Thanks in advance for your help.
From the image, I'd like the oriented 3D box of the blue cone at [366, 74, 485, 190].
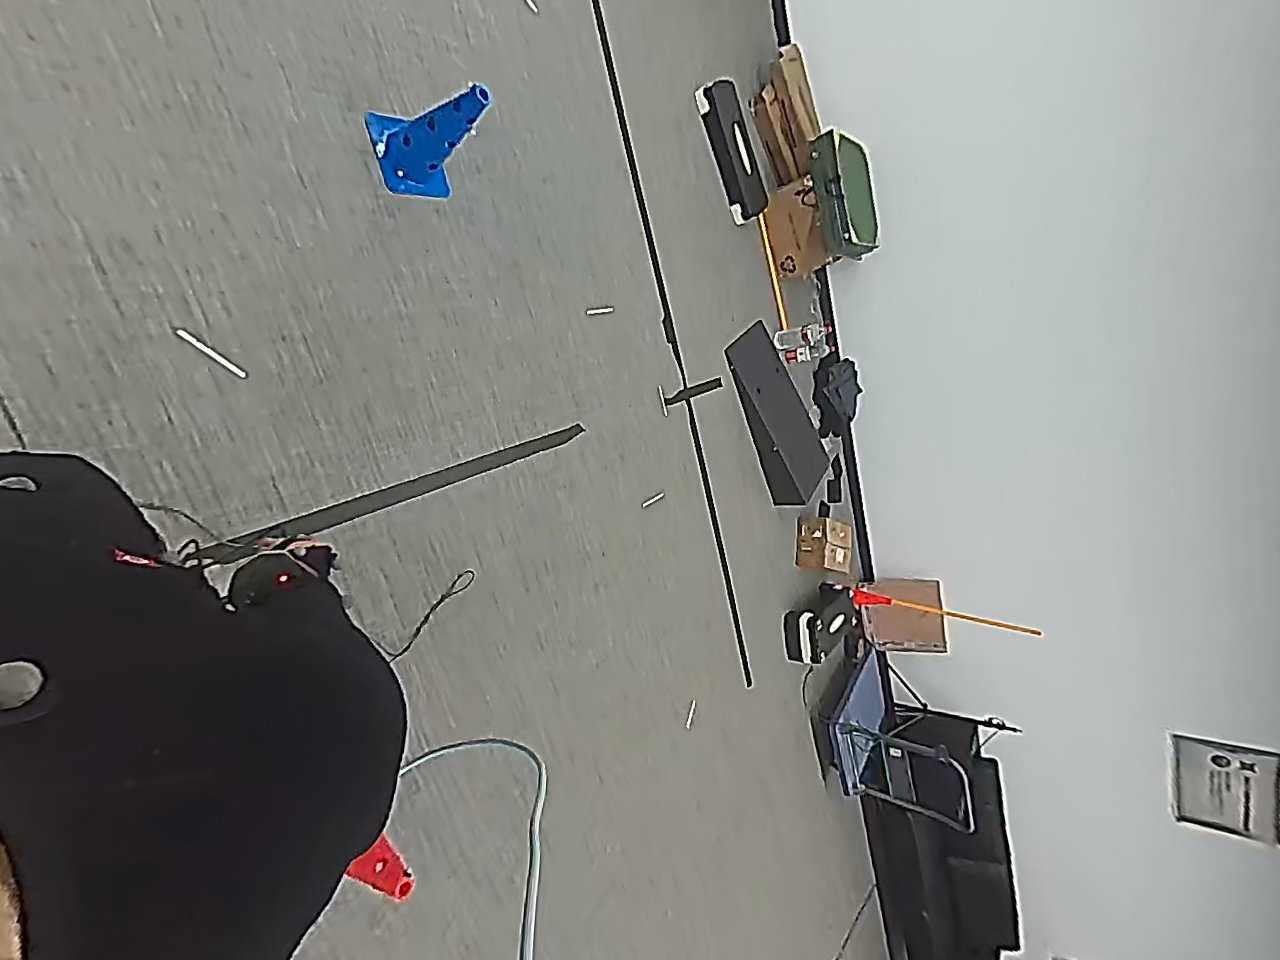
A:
[{"bbox_3d":[-0.516,-0.915,1.388,0.193,0.380,0.192,-27,107,-48],"label":"blue cone"}]
